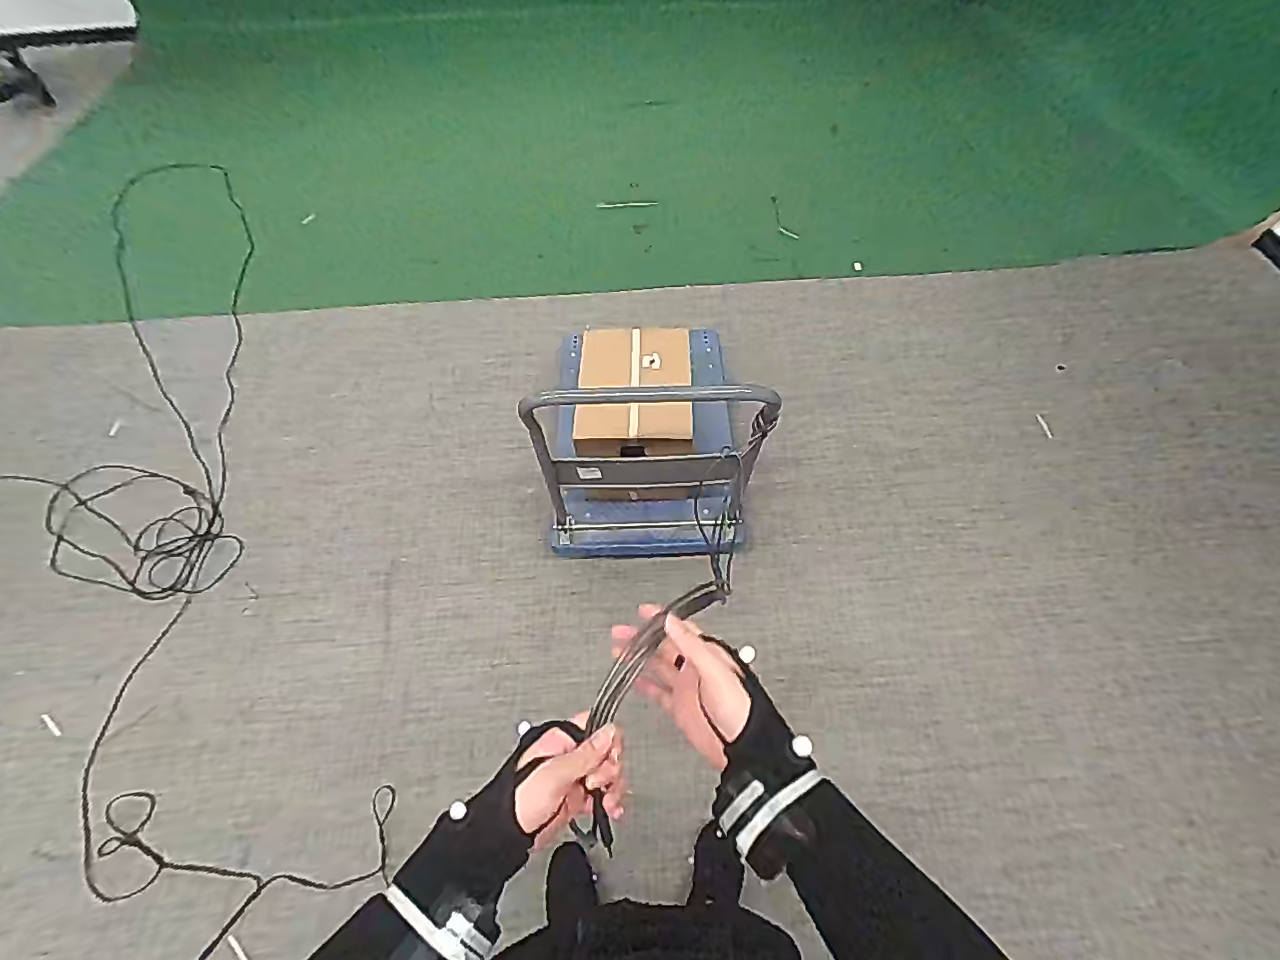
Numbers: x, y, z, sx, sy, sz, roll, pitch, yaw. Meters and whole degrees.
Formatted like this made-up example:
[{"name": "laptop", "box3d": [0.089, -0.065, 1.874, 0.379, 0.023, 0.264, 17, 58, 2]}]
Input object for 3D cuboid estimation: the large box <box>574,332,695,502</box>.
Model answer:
[{"name": "large box", "box3d": [-0.009, -0.180, 1.597, 0.320, 0.320, 0.408, 1, 58, 1]}]
